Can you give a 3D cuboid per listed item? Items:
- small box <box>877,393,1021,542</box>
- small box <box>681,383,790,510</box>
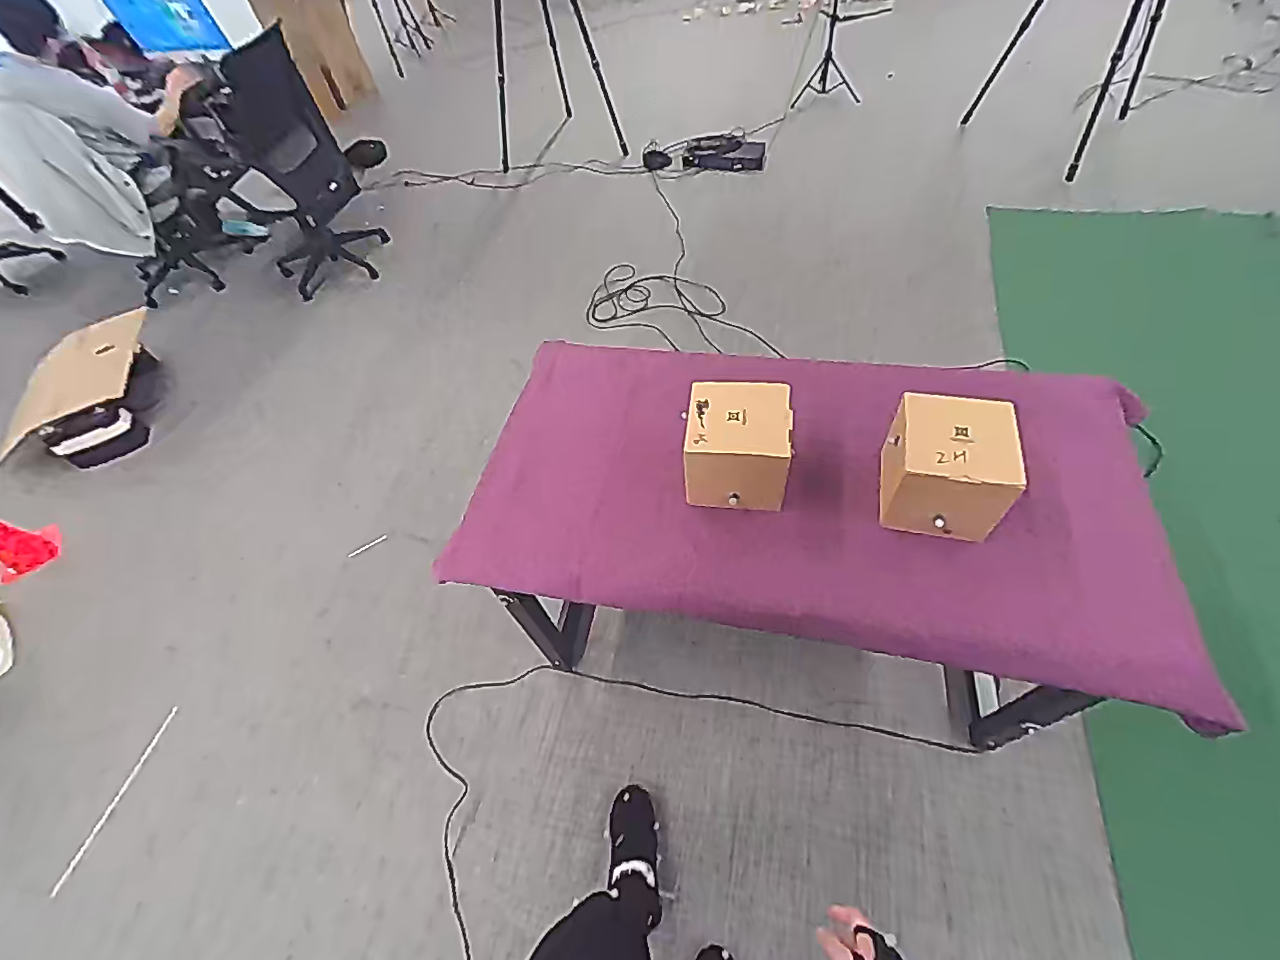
[{"bbox_3d":[0.510,-0.020,0.918,0.168,0.176,0.179,9,56,14],"label":"small box"},{"bbox_3d":[0.174,-0.058,0.992,0.179,0.176,0.168,4,55,10],"label":"small box"}]
